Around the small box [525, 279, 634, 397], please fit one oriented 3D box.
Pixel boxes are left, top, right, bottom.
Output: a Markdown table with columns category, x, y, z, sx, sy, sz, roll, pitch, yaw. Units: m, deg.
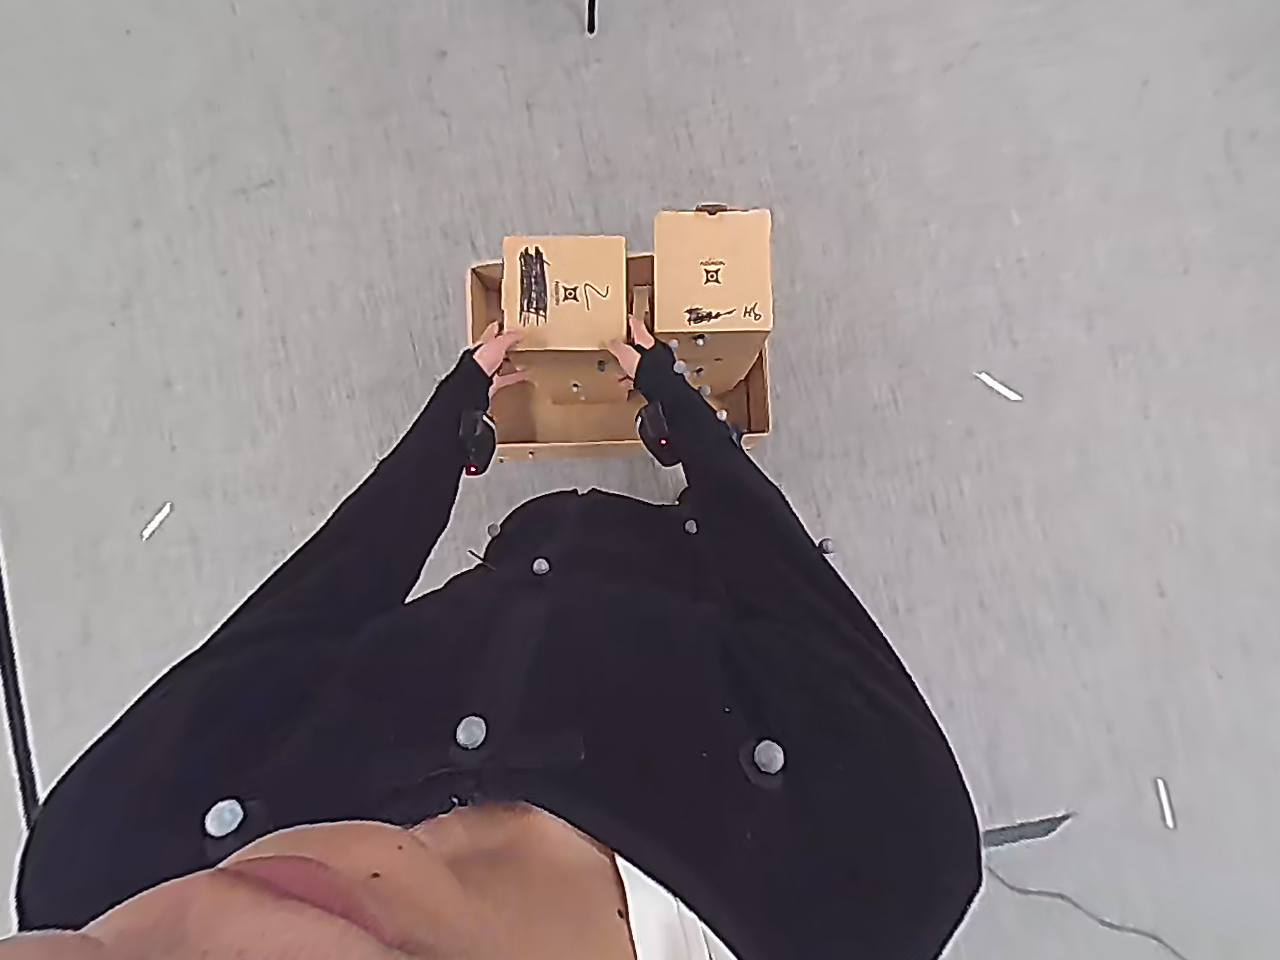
| category | x | y | z | sx | sy | sz | roll | pitch | yaw |
| --- | --- | --- | --- | --- | --- | --- | --- | --- | --- |
| small box | -0.104 | -0.250 | 0.992 | 0.179 | 0.176 | 0.168 | 4 | 88 | 0 |

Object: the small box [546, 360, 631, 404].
| category | x | y | z | sx | sy | sz | roll | pitch | yaw |
| --- | --- | --- | --- | --- | --- | --- | --- | --- | --- |
| small box | -0.109 | -0.258 | 1.156 | 0.179 | 0.176 | 0.168 | -1 | 87 | -1 |
